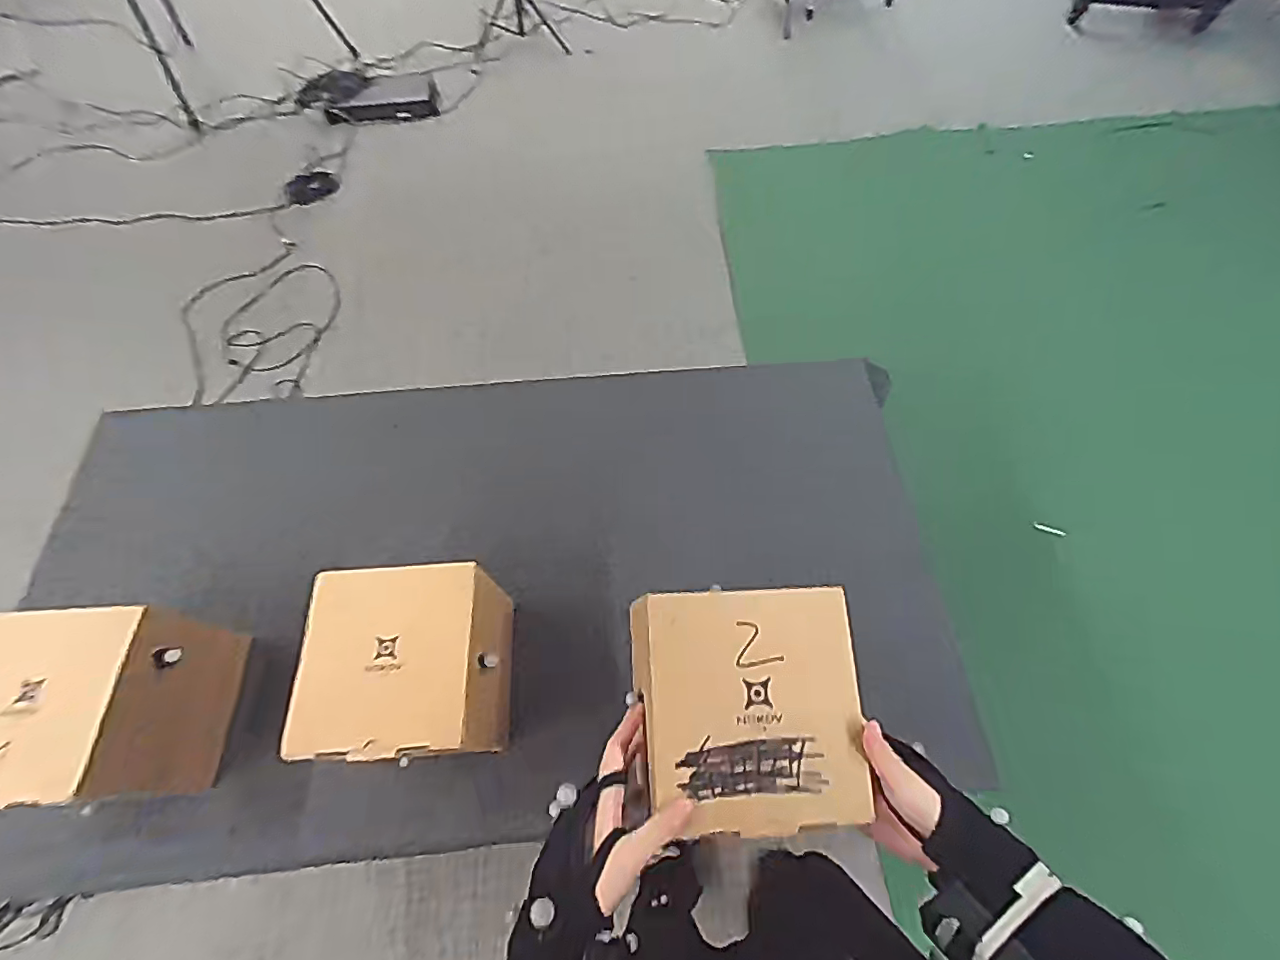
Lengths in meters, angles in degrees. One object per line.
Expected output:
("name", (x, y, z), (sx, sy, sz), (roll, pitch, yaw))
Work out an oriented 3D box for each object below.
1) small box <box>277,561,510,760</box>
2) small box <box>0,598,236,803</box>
("small box", (-0.241, 0.200, 0.582), (0.168, 0.176, 0.179), (-3, 63, -2))
("small box", (-0.571, 0.232, 0.562), (0.168, 0.176, 0.179), (-2, 63, -1))
